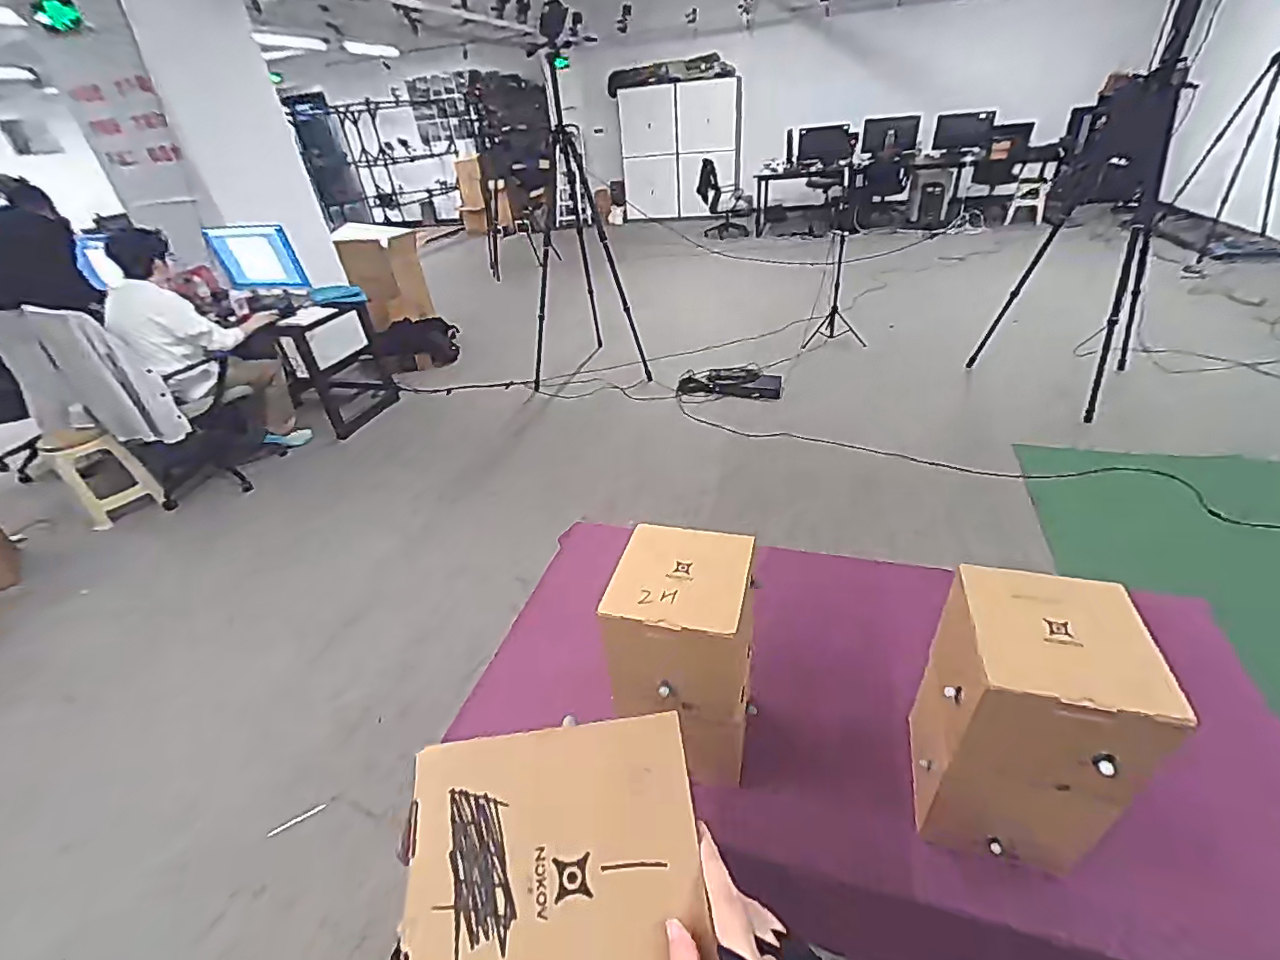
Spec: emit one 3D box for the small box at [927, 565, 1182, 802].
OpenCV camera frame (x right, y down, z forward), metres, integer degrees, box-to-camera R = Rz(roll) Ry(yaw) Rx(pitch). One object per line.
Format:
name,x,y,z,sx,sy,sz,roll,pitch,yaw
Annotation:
small box,0.438,0.225,0.611,0.168,0.176,0.179,6,36,16

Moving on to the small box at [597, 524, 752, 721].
small box,0.055,0.184,0.726,0.168,0.176,0.179,5,36,17

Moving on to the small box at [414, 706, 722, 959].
small box,-0.049,0.274,0.397,0.179,0.176,0.168,-5,61,-6

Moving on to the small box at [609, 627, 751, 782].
small box,0.067,0.323,0.814,0.179,0.176,0.168,5,35,15
